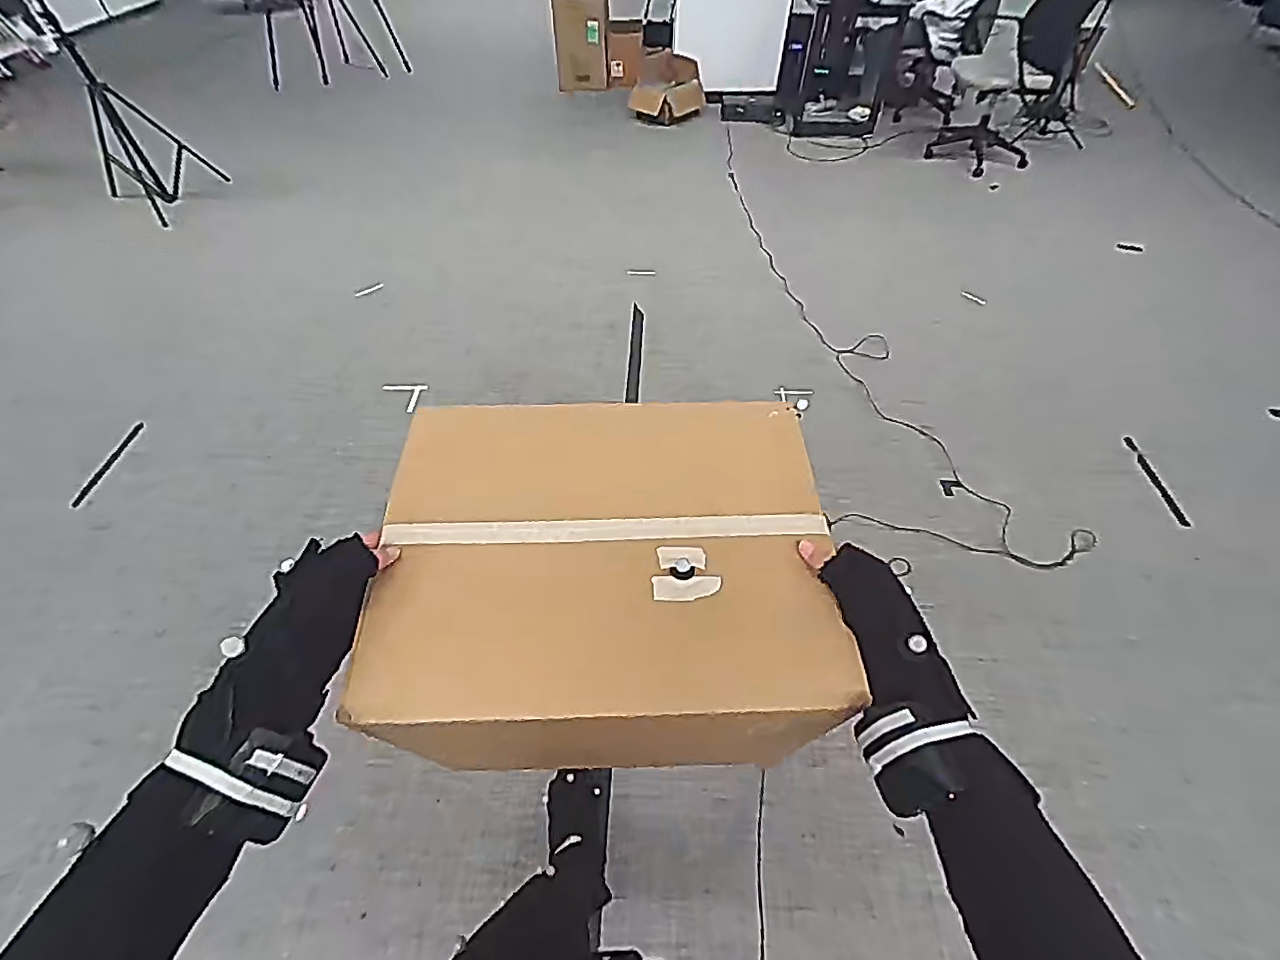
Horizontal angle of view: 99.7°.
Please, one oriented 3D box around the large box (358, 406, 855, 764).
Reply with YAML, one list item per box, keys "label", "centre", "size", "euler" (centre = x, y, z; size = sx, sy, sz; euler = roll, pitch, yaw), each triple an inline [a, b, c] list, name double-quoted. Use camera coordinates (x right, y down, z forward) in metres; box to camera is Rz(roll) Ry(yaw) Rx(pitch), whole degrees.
- label: "large box"
  centre: [-0.033, 0.132, 0.631]
  size: [0.408, 0.320, 0.320]
  euler: [-1, 56, -2]
